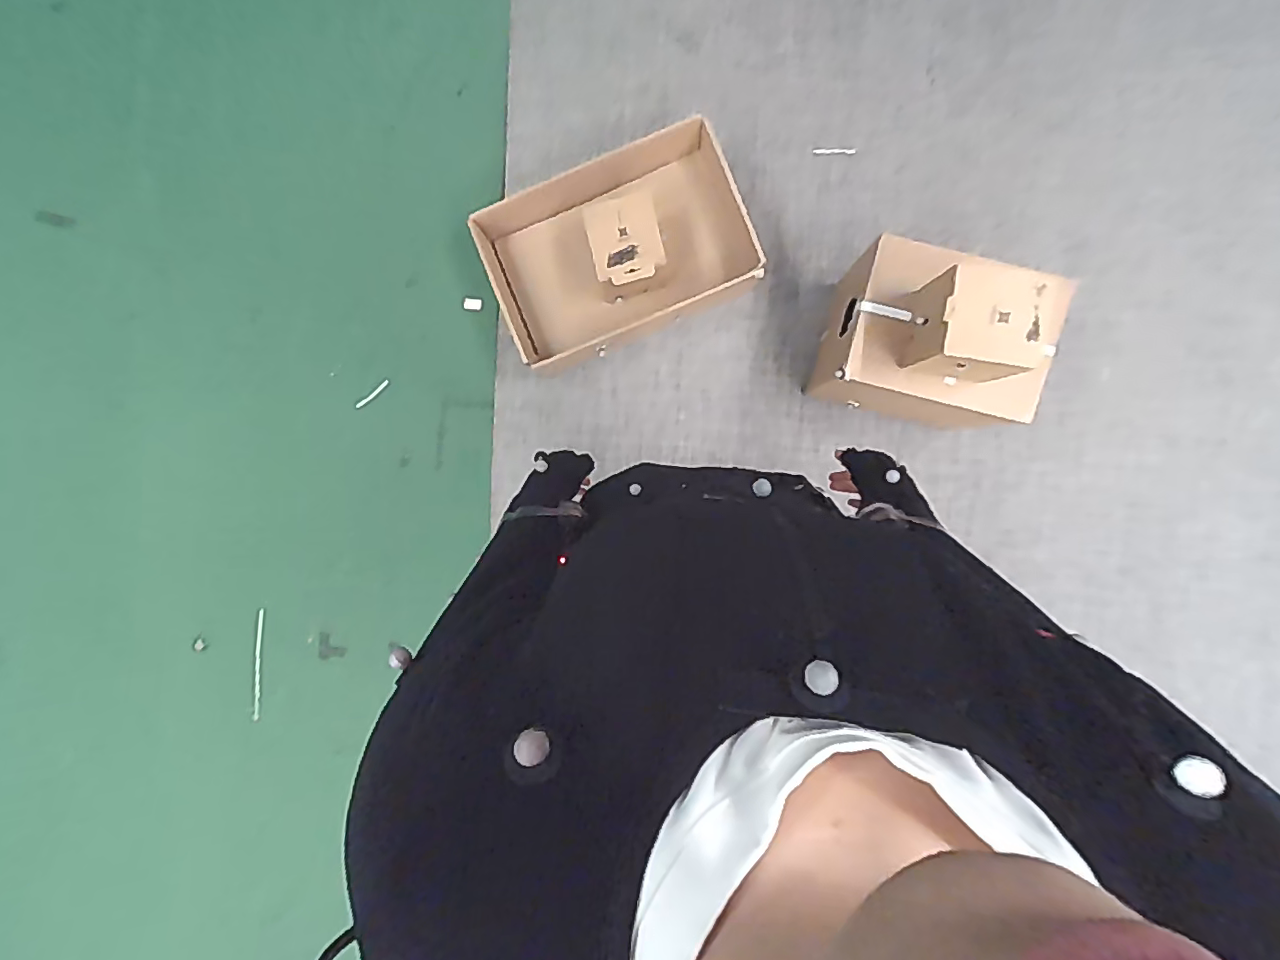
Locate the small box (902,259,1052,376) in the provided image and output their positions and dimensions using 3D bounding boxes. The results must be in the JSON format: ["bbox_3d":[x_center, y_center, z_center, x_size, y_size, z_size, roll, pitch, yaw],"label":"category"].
[{"bbox_3d":[0.632,-0.302,1.038,0.179,0.176,0.168,9,93,3],"label":"small box"}]

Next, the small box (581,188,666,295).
[{"bbox_3d":[-0.034,-0.570,1.326,0.168,0.176,0.179,-14,89,4],"label":"small box"}]
